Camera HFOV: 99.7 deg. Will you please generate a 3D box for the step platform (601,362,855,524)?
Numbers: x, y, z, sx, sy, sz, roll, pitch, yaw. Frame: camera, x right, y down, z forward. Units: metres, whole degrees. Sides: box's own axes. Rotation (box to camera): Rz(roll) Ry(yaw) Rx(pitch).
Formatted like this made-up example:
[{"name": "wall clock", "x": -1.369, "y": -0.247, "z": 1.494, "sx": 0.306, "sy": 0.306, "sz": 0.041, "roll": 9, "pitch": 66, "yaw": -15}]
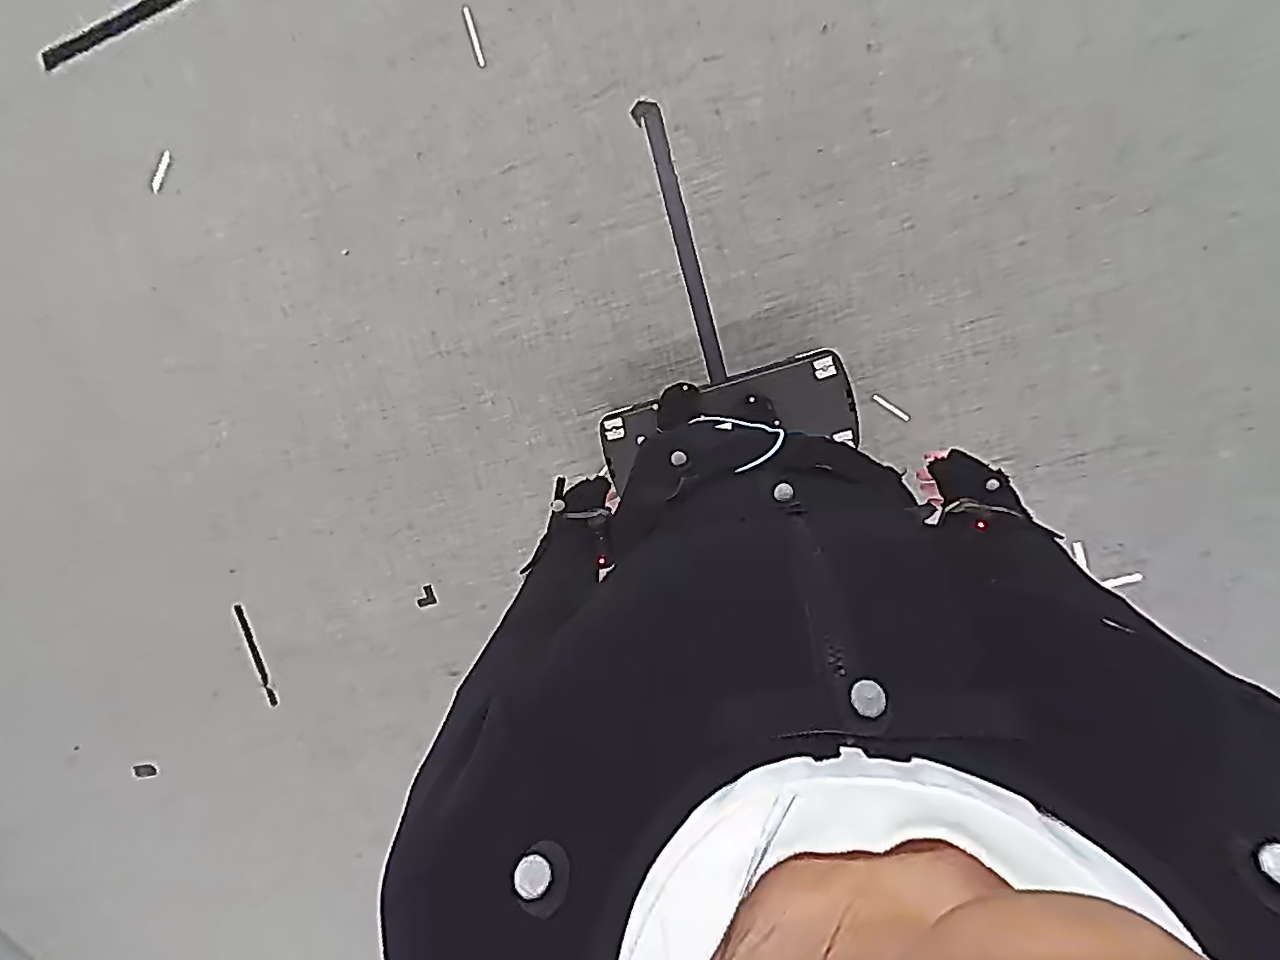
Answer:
[{"name": "step platform", "x": 0.235, "y": -0.099, "z": 1.522, "sx": 0.684, "sy": 0.204, "sz": 0.286, "roll": -17, "pitch": 98, "yaw": 9}]
